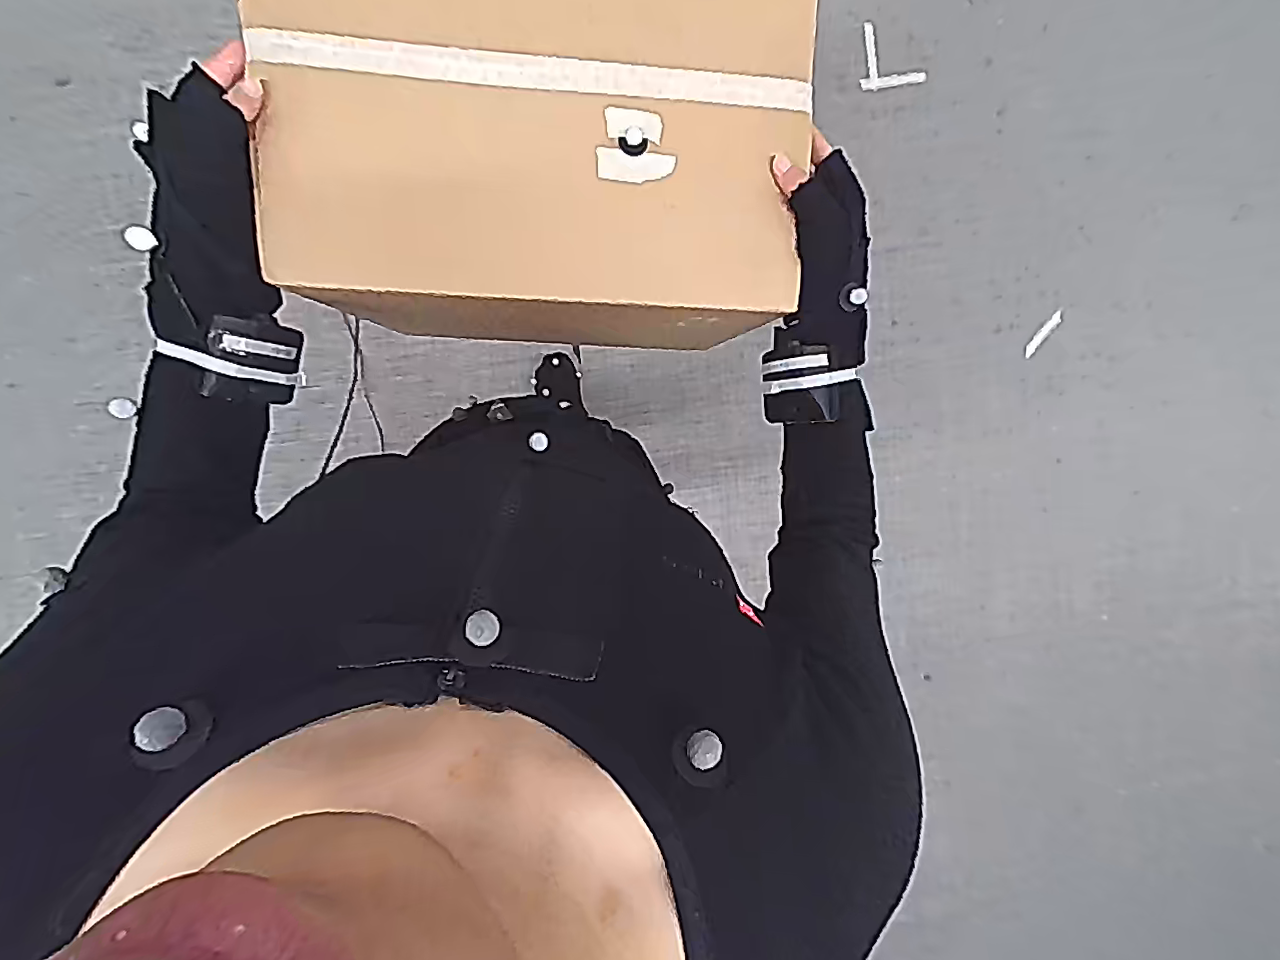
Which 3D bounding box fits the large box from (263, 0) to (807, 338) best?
[{"bbox_3d":[-0.087,-0.325,0.551,0.408,0.320,0.320,0,98,-6],"label":"large box"}]
